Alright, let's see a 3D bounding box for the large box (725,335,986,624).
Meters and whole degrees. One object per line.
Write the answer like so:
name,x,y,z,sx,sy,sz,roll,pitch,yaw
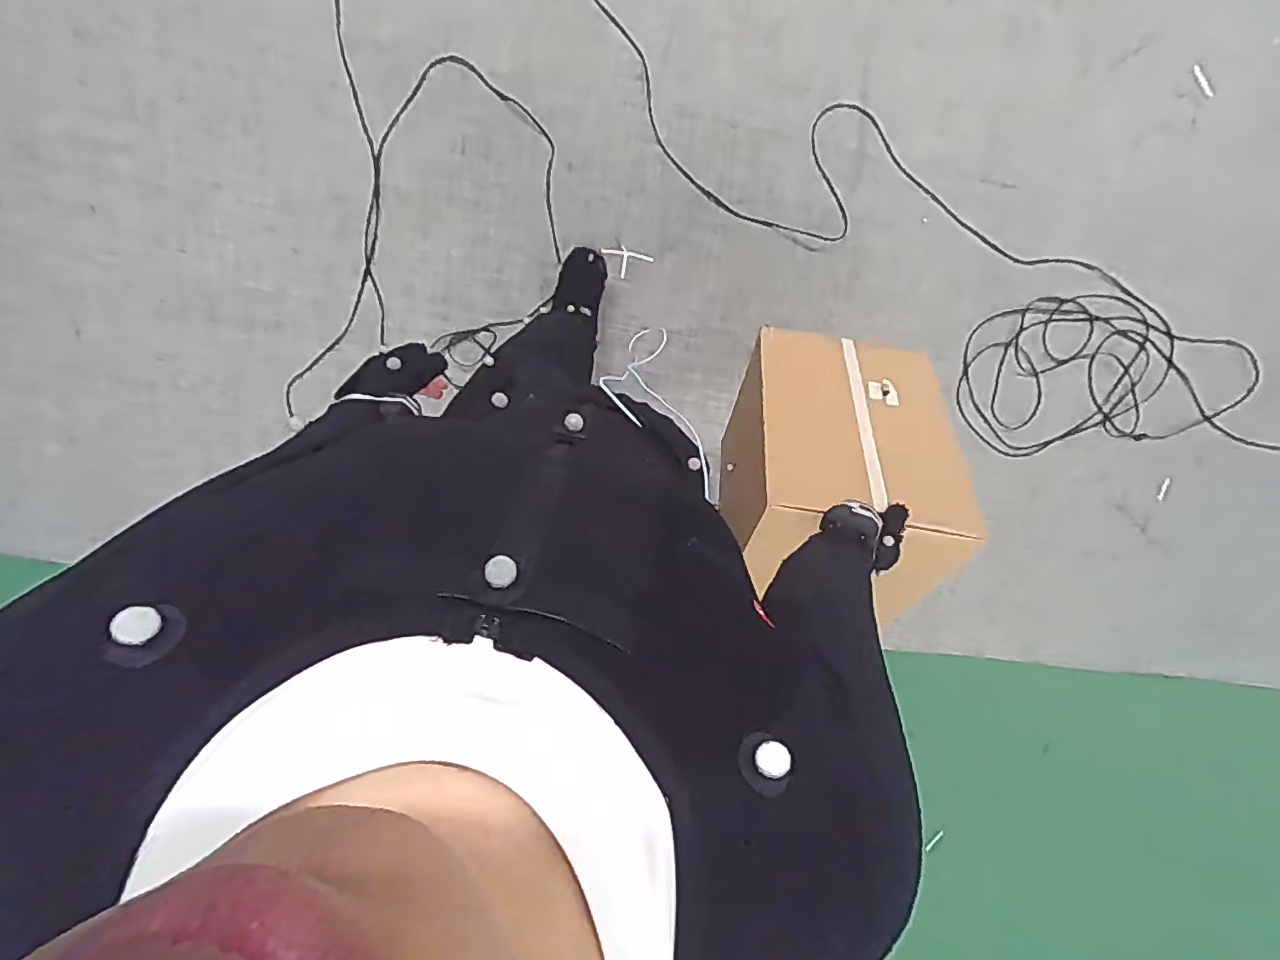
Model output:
large box,0.338,0.001,0.985,0.320,0.408,0.320,10,141,-1
